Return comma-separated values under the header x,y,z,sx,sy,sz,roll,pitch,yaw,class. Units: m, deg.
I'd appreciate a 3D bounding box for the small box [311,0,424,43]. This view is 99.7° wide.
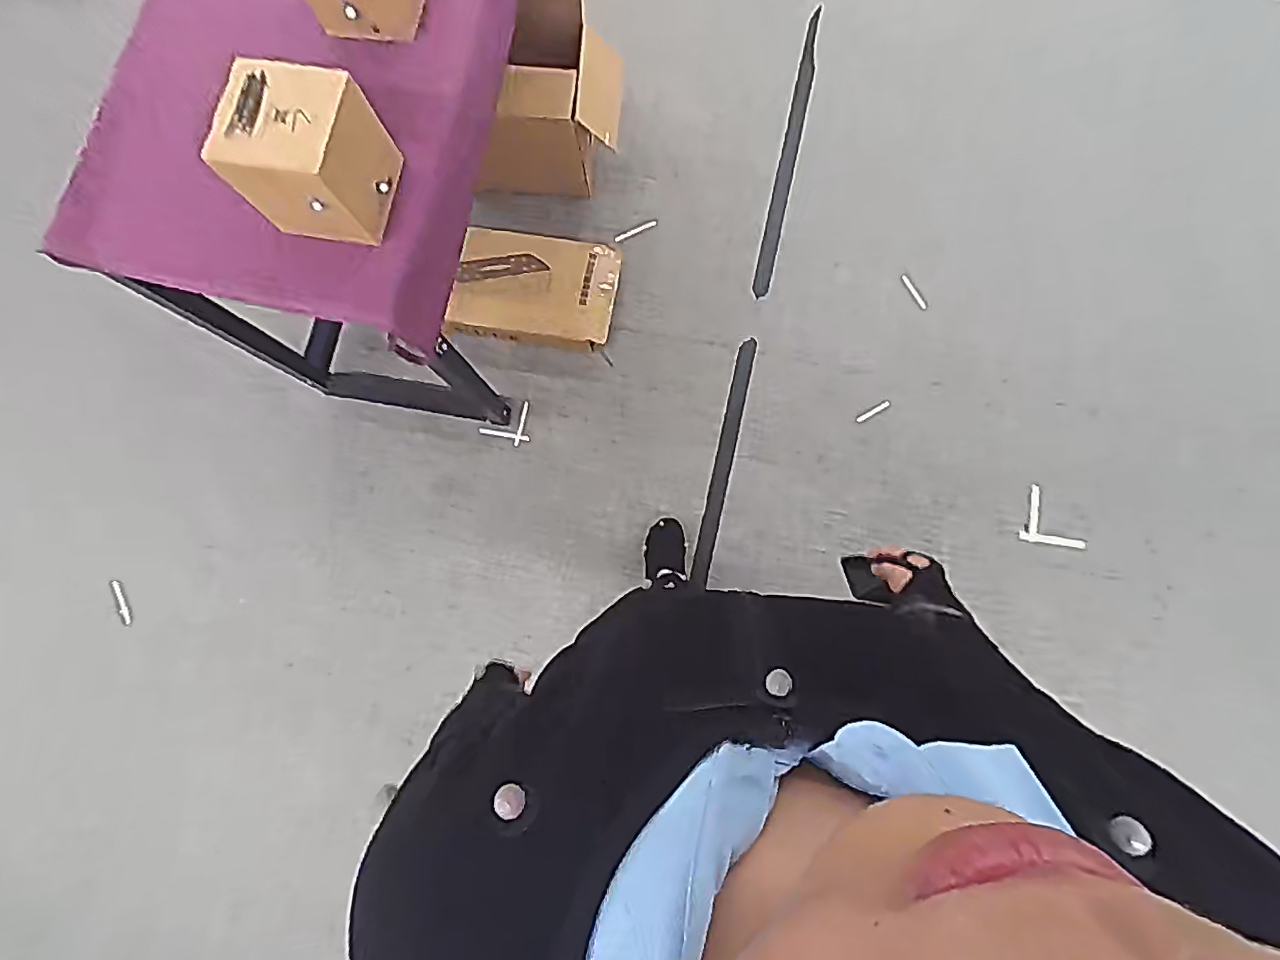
x,y,z,sx,sy,sz,roll,pitch,yaw,class
-0.468,-0.877,0.892,0.168,0.176,0.179,9,81,7,small box
